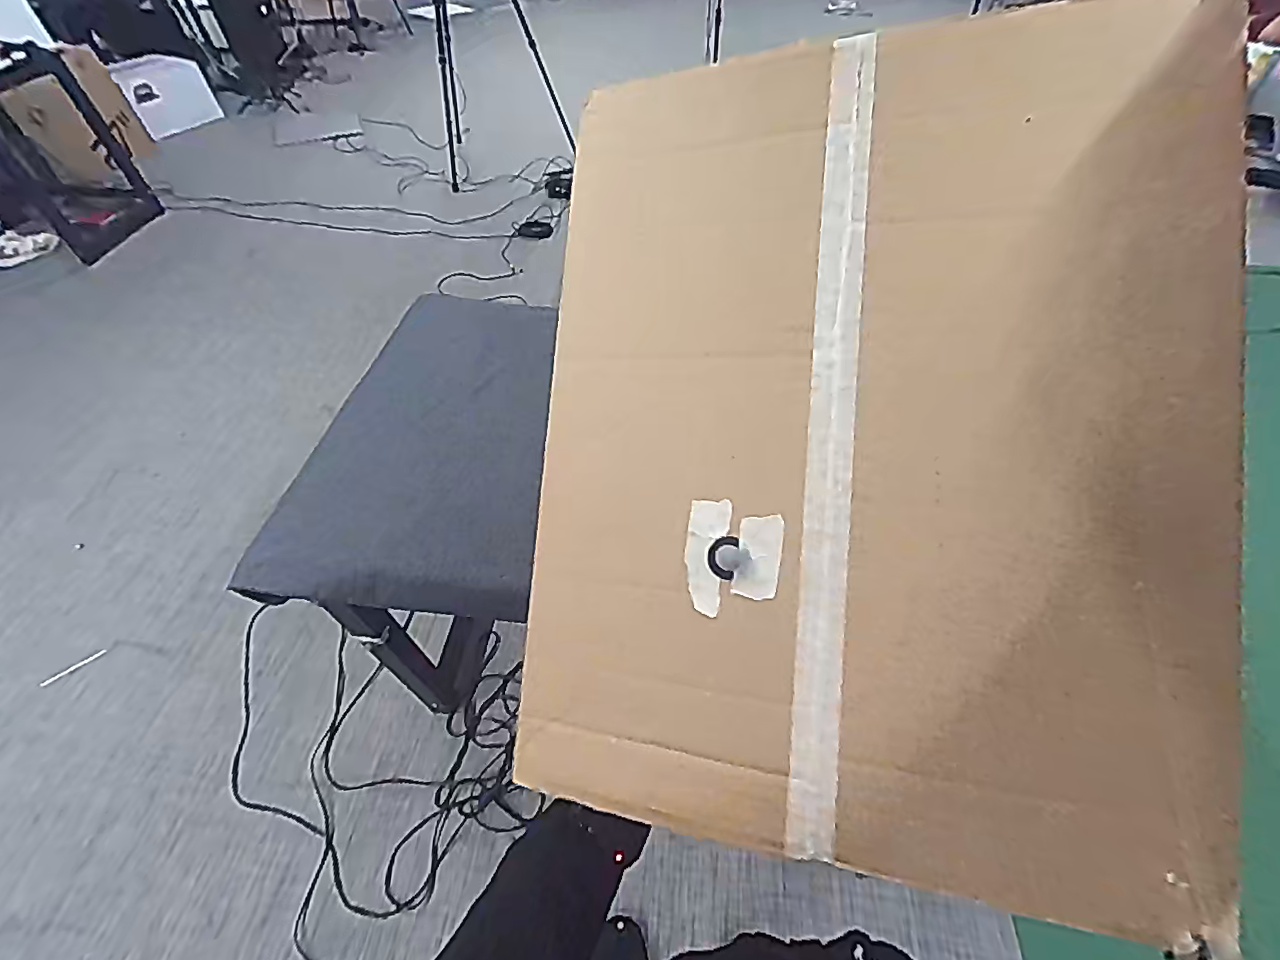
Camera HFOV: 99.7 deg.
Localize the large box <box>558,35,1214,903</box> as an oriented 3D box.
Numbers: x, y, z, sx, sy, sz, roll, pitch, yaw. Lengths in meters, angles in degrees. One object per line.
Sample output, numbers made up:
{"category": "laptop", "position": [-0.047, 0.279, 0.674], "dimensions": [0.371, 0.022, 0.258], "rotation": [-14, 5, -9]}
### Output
{"category": "large box", "position": [0.149, -0.011, 0.426], "dimensions": [0.320, 0.320, 0.408], "rotation": [3, 87, 17]}
